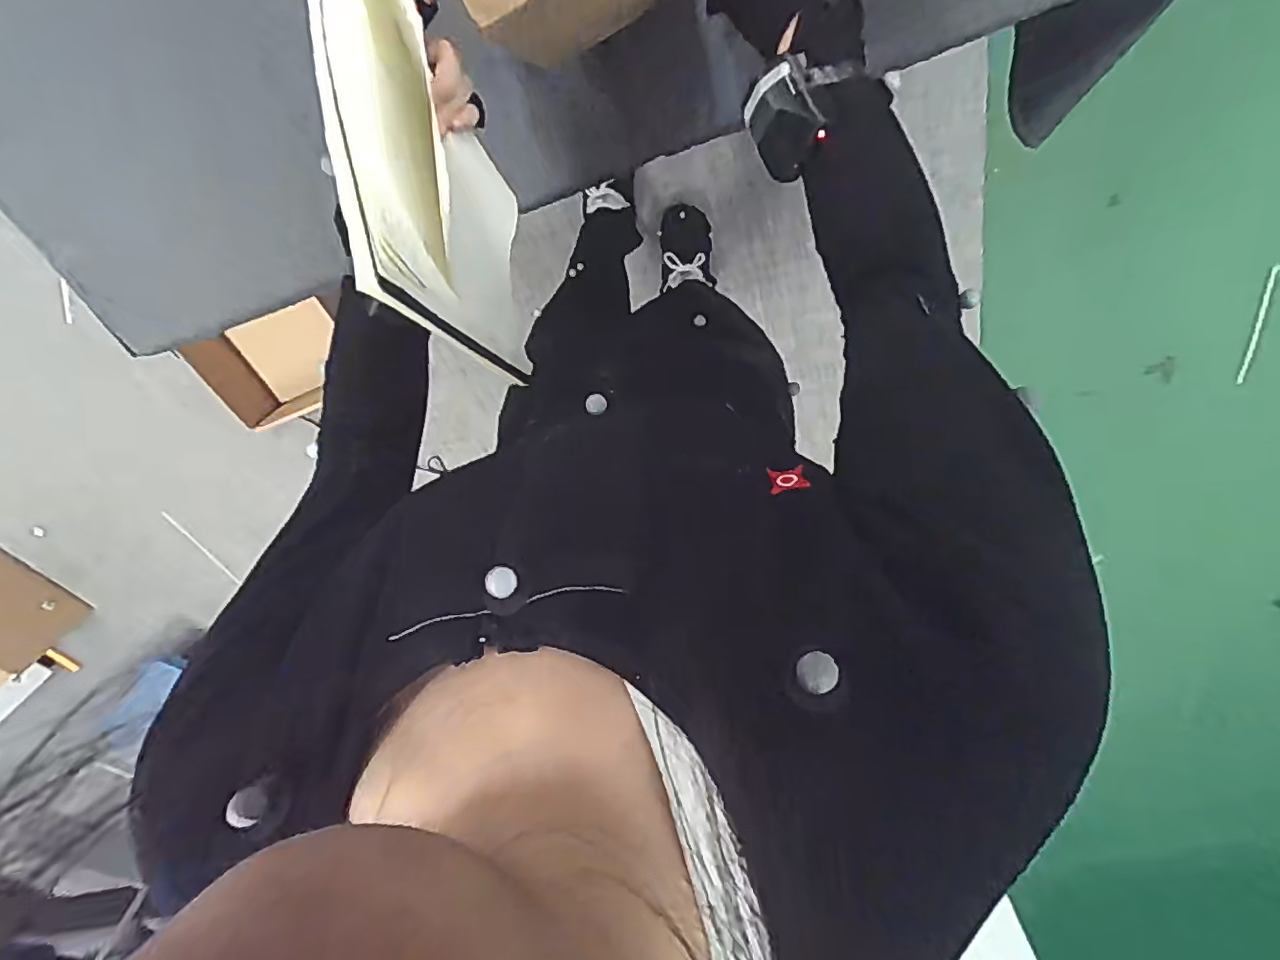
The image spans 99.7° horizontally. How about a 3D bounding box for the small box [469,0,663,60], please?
[{"bbox_3d":[-0.045,-0.423,0.357,0.179,0.176,0.168,-17,115,19],"label":"small box"}]
